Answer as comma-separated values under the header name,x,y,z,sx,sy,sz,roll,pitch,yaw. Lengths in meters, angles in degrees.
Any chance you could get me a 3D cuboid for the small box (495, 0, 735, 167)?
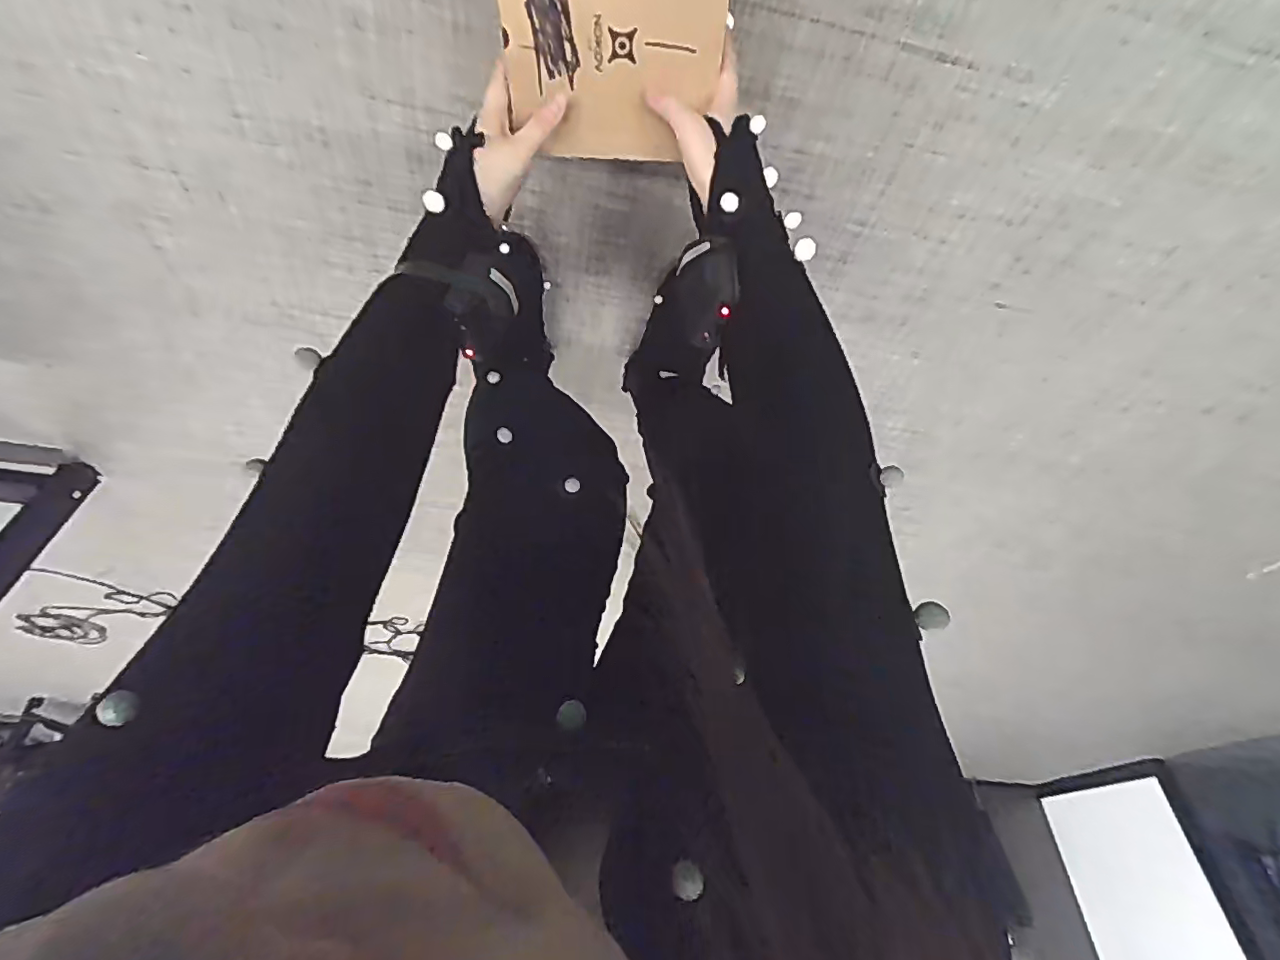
name,x,y,z,sx,sy,sz,roll,pitch,yaw
small box,-0.016,-0.389,0.457,0.179,0.176,0.168,2,141,0
